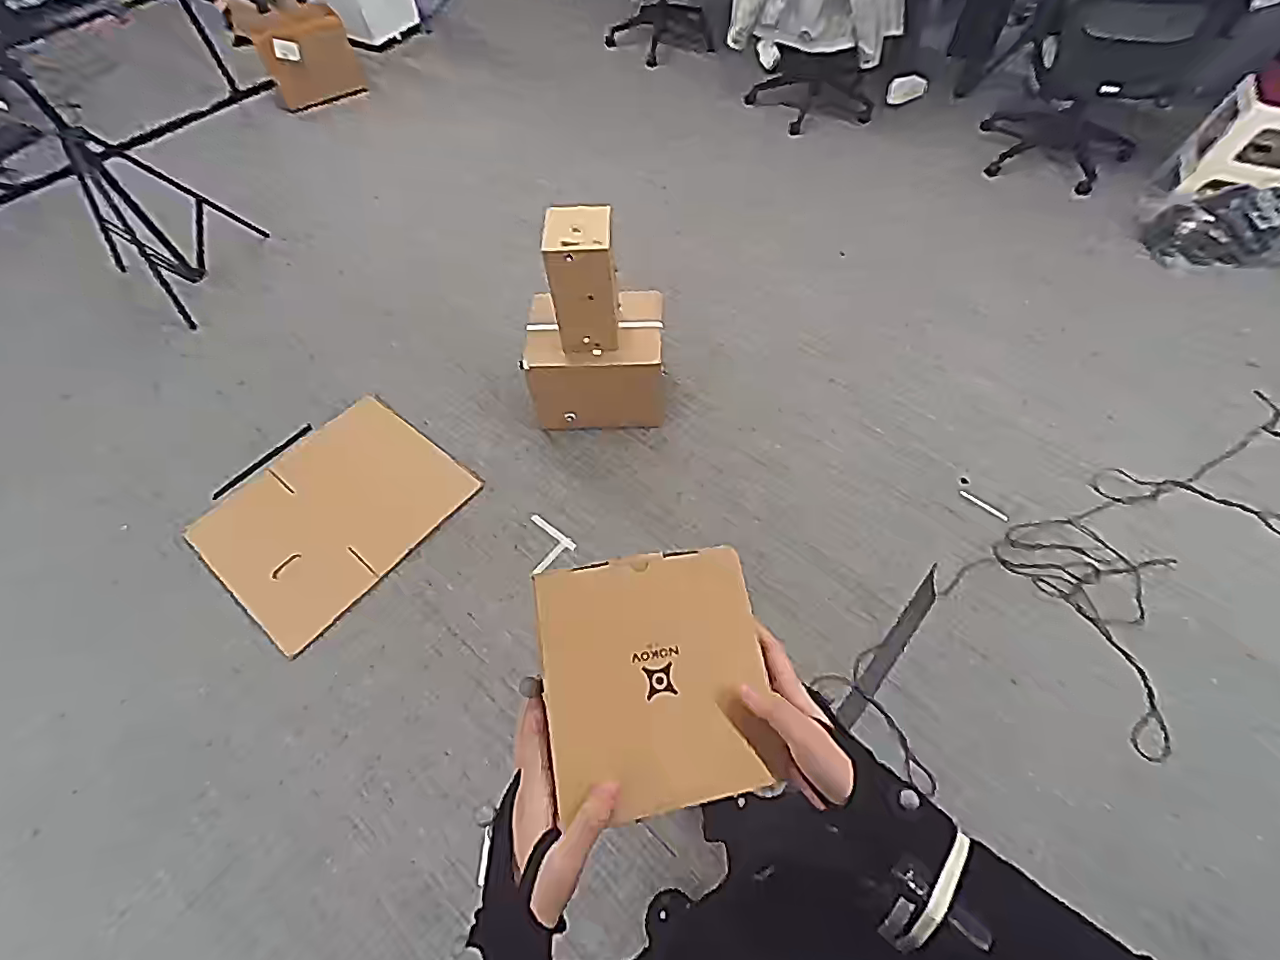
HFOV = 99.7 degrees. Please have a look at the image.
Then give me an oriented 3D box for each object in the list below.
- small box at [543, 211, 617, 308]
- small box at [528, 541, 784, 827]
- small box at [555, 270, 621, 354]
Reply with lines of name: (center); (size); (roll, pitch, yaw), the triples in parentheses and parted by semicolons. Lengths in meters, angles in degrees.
small box: (-0.149, -0.573, 1.411); (0.168, 0.176, 0.179); (-2, 58, 2)
small box: (-0.003, 0.168, 0.468); (0.168, 0.176, 0.179); (-7, 68, -13)
small box: (-0.143, -0.484, 1.550); (0.168, 0.176, 0.179); (-2, 59, 2)
